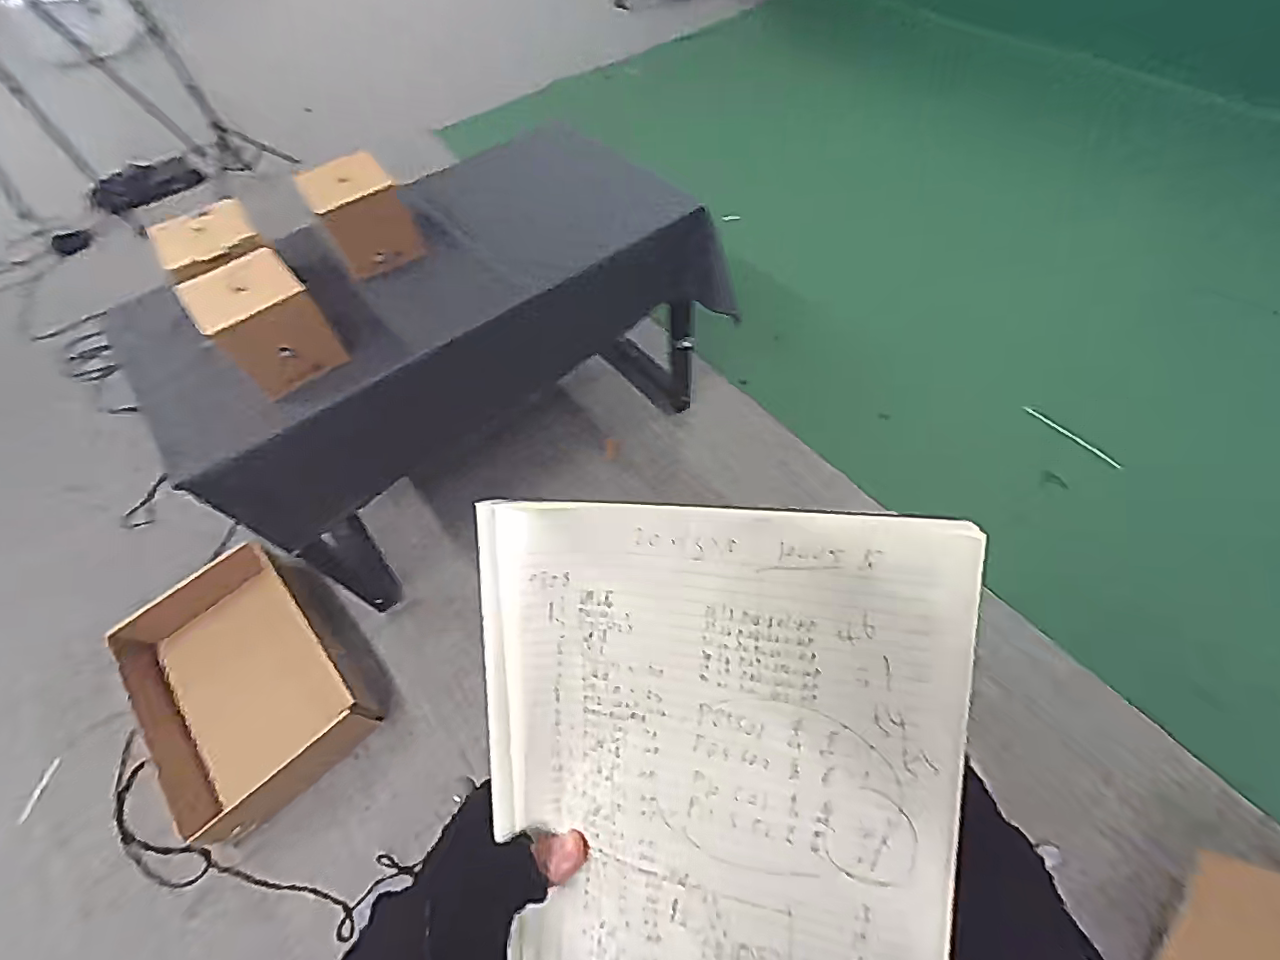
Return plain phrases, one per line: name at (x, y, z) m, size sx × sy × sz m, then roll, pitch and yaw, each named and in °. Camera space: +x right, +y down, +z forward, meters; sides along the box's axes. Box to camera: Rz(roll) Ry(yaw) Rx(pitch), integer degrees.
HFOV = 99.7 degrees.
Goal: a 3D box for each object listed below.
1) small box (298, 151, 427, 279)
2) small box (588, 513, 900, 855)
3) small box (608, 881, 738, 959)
small box at (-0.600, -0.576, 1.183) m, size 0.168 × 0.176 × 0.179 m, roll -33°, pitch 62°, yaw -15°
small box at (0.063, 0.121, 0.379) m, size 0.168 × 0.176 × 0.179 m, roll 0°, pitch 80°, yaw 7°
small box at (0.060, 0.928, 1.060) m, size 0.179 × 0.176 × 0.168 m, roll 31°, pitch 74°, yaw 41°
